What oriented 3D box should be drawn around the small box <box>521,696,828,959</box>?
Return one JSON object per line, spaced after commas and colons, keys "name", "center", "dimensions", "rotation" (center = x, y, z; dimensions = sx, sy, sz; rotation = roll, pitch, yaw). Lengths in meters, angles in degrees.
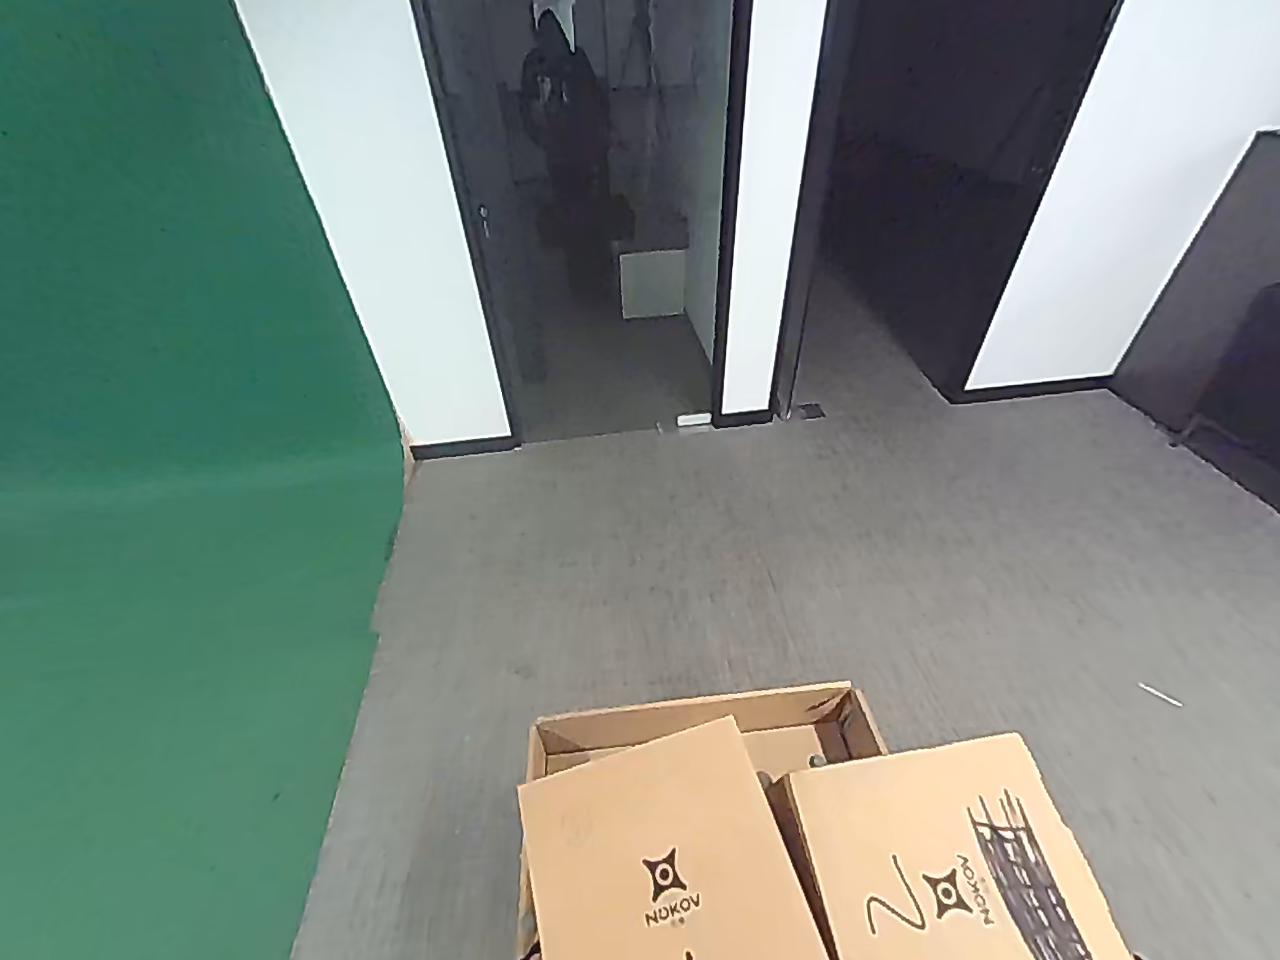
{"name": "small box", "center": [0.015, 0.296, 0.412], "dimensions": [0.168, 0.176, 0.179], "rotation": [-14, 53, -9]}
